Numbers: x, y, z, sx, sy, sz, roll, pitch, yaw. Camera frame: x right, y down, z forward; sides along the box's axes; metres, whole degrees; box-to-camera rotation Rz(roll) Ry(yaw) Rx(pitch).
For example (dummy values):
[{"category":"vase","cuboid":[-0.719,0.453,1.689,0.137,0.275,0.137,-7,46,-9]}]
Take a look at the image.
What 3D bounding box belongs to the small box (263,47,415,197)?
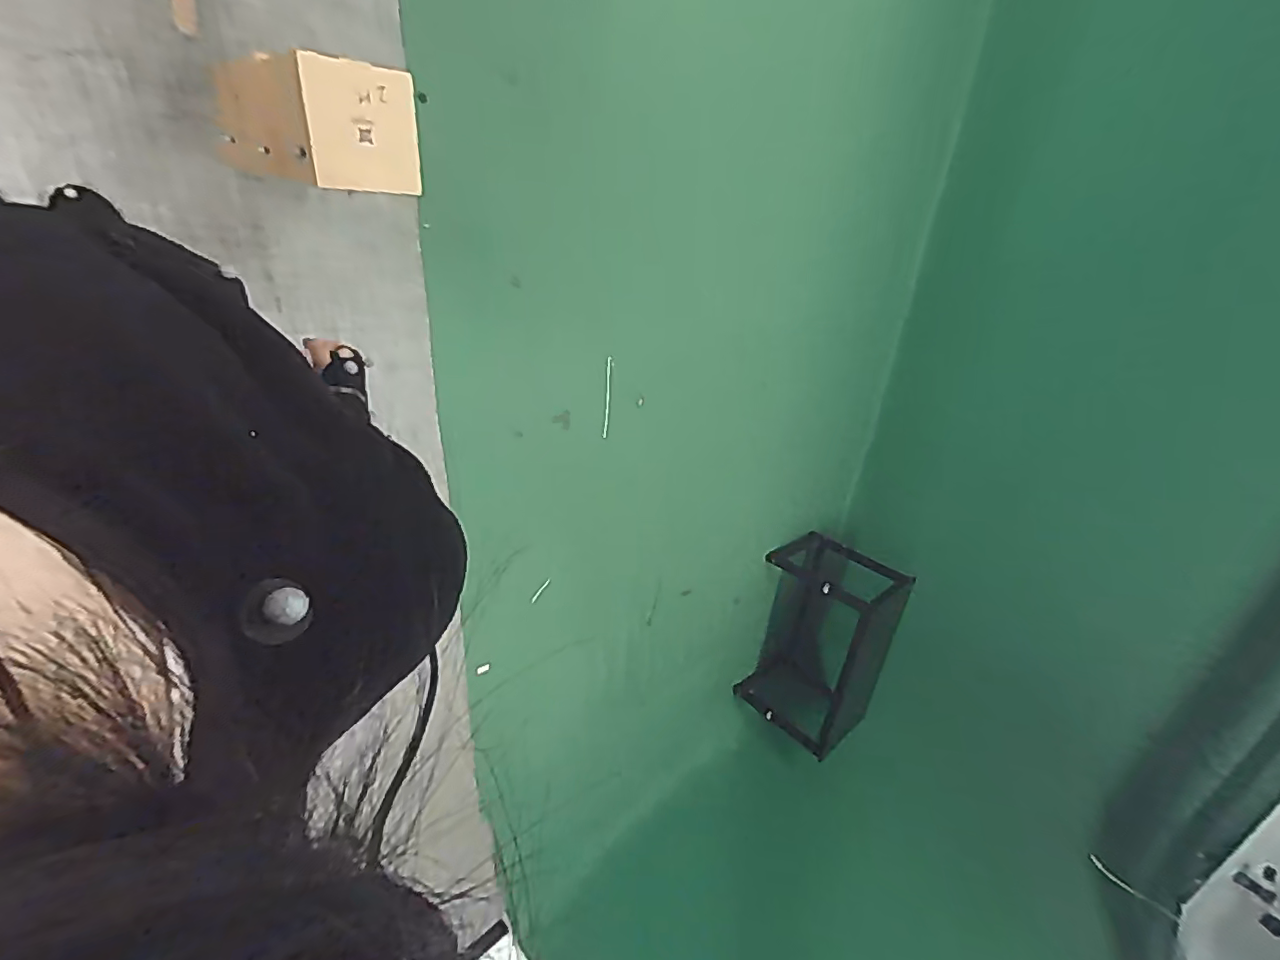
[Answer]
[{"category":"small box","cuboid":[-0.492,-0.576,0.889,0.168,0.176,0.179,-20,126,-40]}]
